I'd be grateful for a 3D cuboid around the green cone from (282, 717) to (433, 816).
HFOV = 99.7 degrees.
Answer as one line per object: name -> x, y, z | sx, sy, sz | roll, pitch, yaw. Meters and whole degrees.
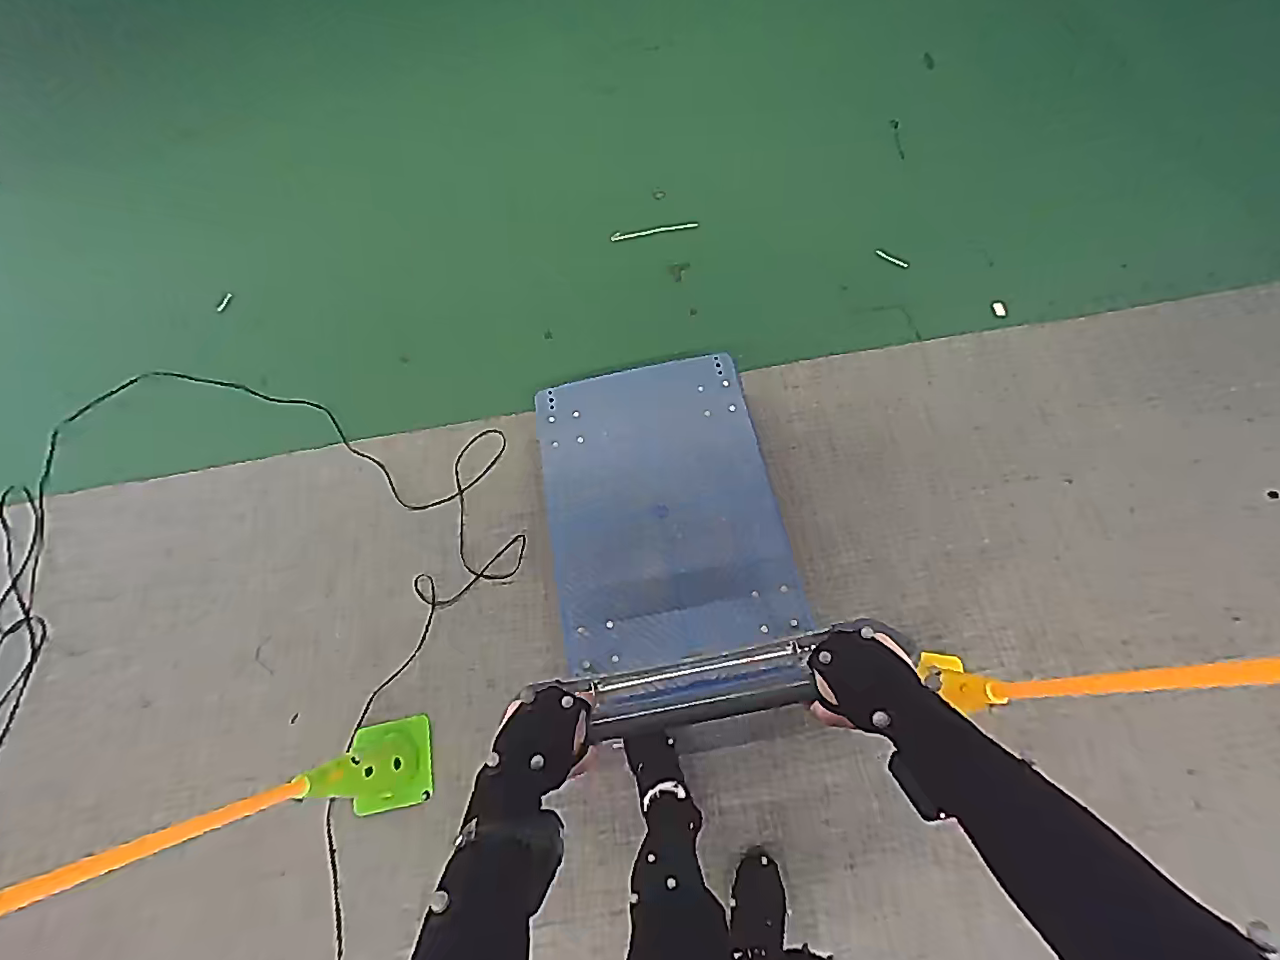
green cone -> -0.642, 0.653, 1.201 | 0.202, 0.368, 0.200 | -14, 67, 2
